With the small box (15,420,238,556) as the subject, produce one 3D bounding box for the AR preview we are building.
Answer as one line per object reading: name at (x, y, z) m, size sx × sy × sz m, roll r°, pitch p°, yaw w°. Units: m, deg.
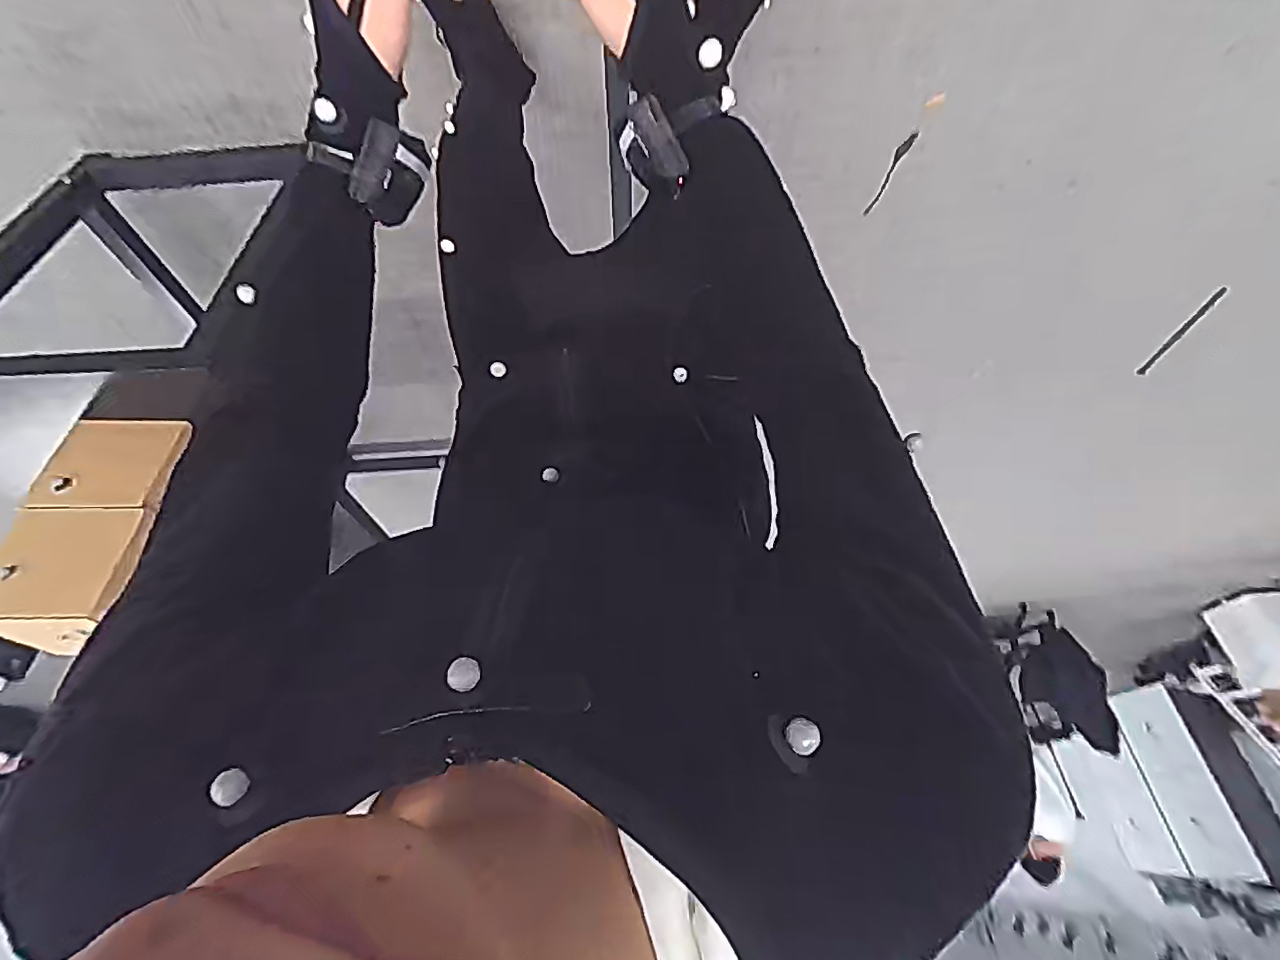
small box at (-0.821, 0.014, 0.891) m, size 0.179 × 0.176 × 0.168 m, roll 0°, pitch 148°, yaw -4°
